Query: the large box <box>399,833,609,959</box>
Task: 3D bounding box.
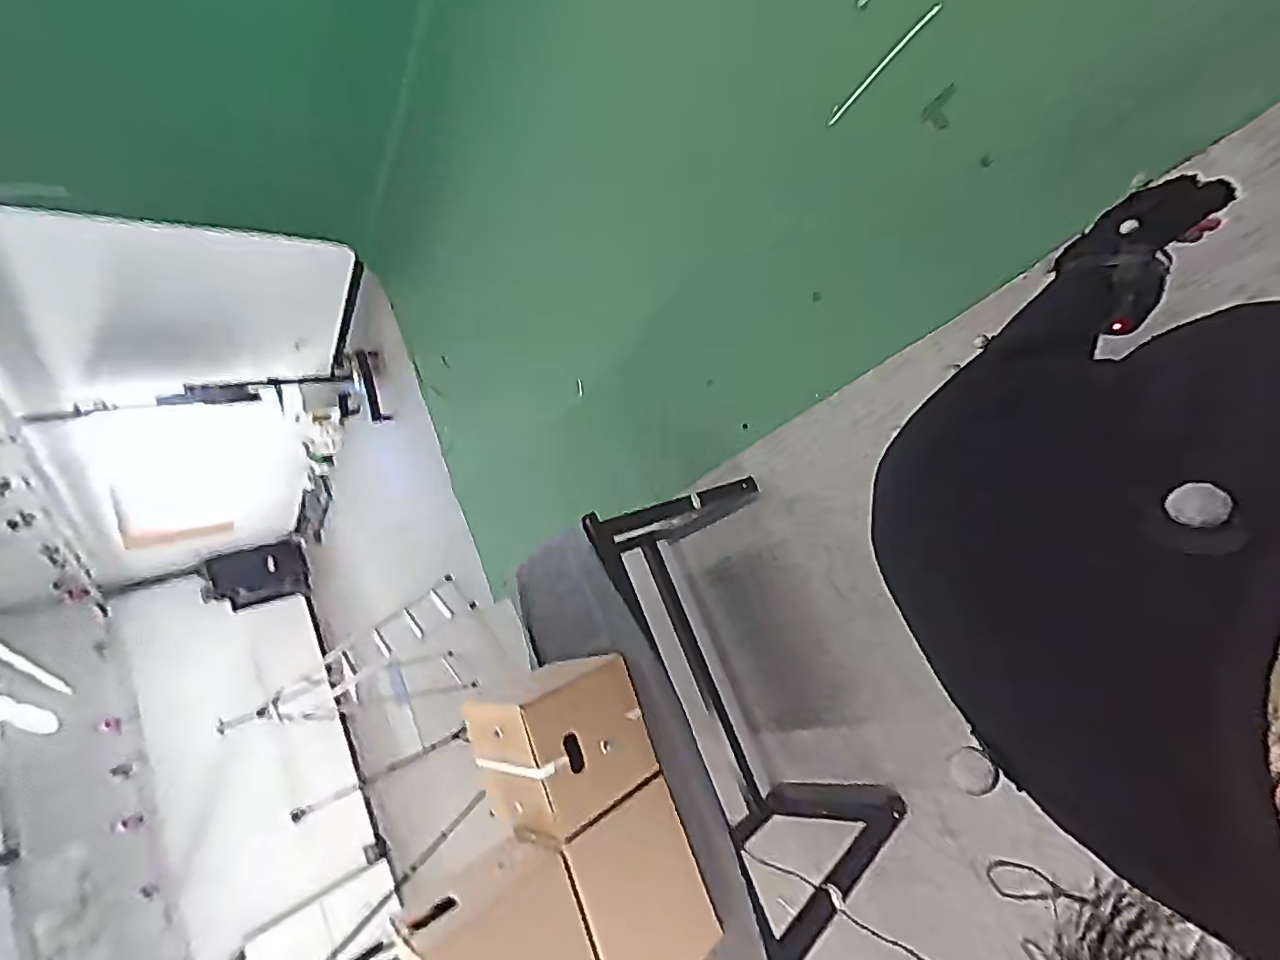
[{"bbox_3d":[-0.274,1.064,1.168,0.320,0.320,0.408,-33,76,49],"label":"large box"}]
